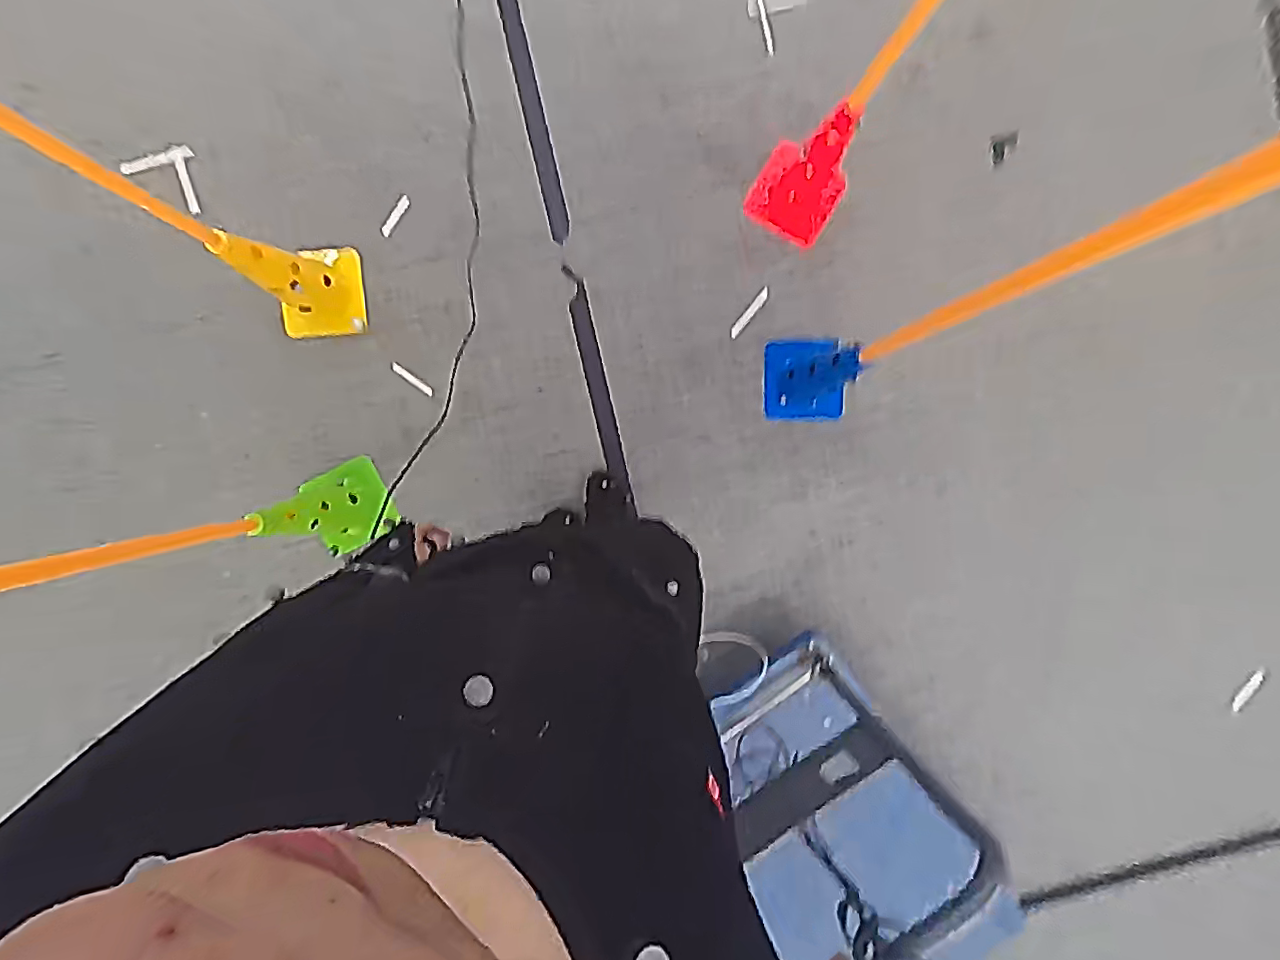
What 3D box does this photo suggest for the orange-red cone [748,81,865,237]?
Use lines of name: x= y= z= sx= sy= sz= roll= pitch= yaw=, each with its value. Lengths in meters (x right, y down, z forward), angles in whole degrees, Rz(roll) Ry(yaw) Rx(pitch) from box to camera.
orange-red cone: x=0.387 y=-0.704 z=1.142 sx=0.198 sy=0.360 sz=0.199 roll=31 pitch=93 yaw=-2

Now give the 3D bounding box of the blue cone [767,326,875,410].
blue cone: x=0.415 y=-0.263 z=1.182 sx=0.193 sy=0.380 sz=0.192 roll=1 pitch=92 yaw=-1

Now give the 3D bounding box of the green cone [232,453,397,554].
green cone: x=-0.720 y=0.064 z=1.161 sx=0.200 sy=0.368 sz=0.202 roll=-28 pitch=92 yaw=0
